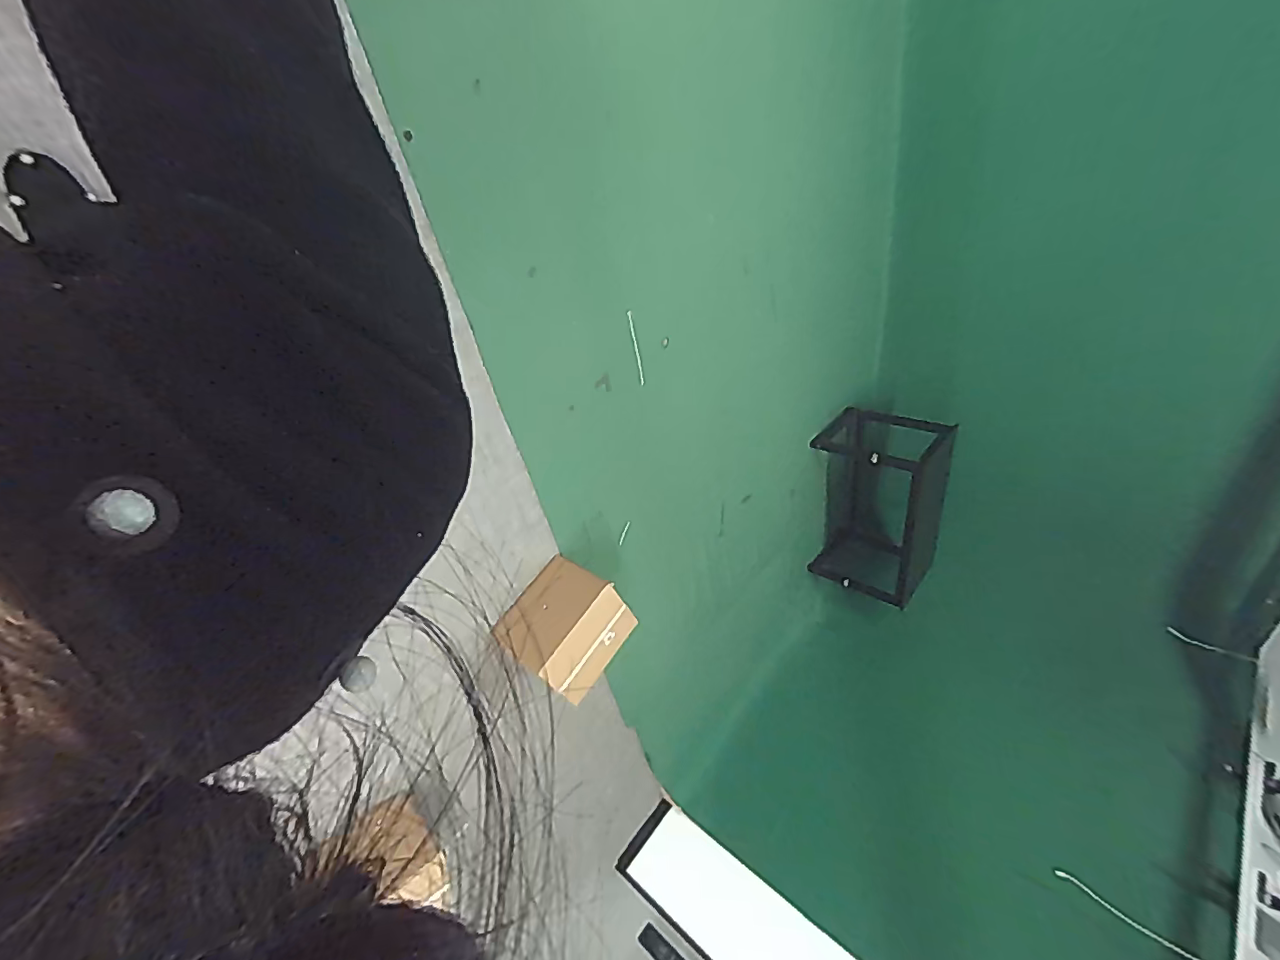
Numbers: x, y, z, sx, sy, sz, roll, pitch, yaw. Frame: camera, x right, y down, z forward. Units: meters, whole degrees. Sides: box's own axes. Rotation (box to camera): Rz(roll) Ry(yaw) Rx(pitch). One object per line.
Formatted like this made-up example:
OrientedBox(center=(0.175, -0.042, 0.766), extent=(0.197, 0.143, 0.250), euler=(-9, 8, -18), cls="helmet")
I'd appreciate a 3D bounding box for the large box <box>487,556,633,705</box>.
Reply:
OrientedBox(center=(-0.304, 0.575, 2.103), extent=(0.408, 0.320, 0.320), euler=(-51, 138, -23), cls="large box")
